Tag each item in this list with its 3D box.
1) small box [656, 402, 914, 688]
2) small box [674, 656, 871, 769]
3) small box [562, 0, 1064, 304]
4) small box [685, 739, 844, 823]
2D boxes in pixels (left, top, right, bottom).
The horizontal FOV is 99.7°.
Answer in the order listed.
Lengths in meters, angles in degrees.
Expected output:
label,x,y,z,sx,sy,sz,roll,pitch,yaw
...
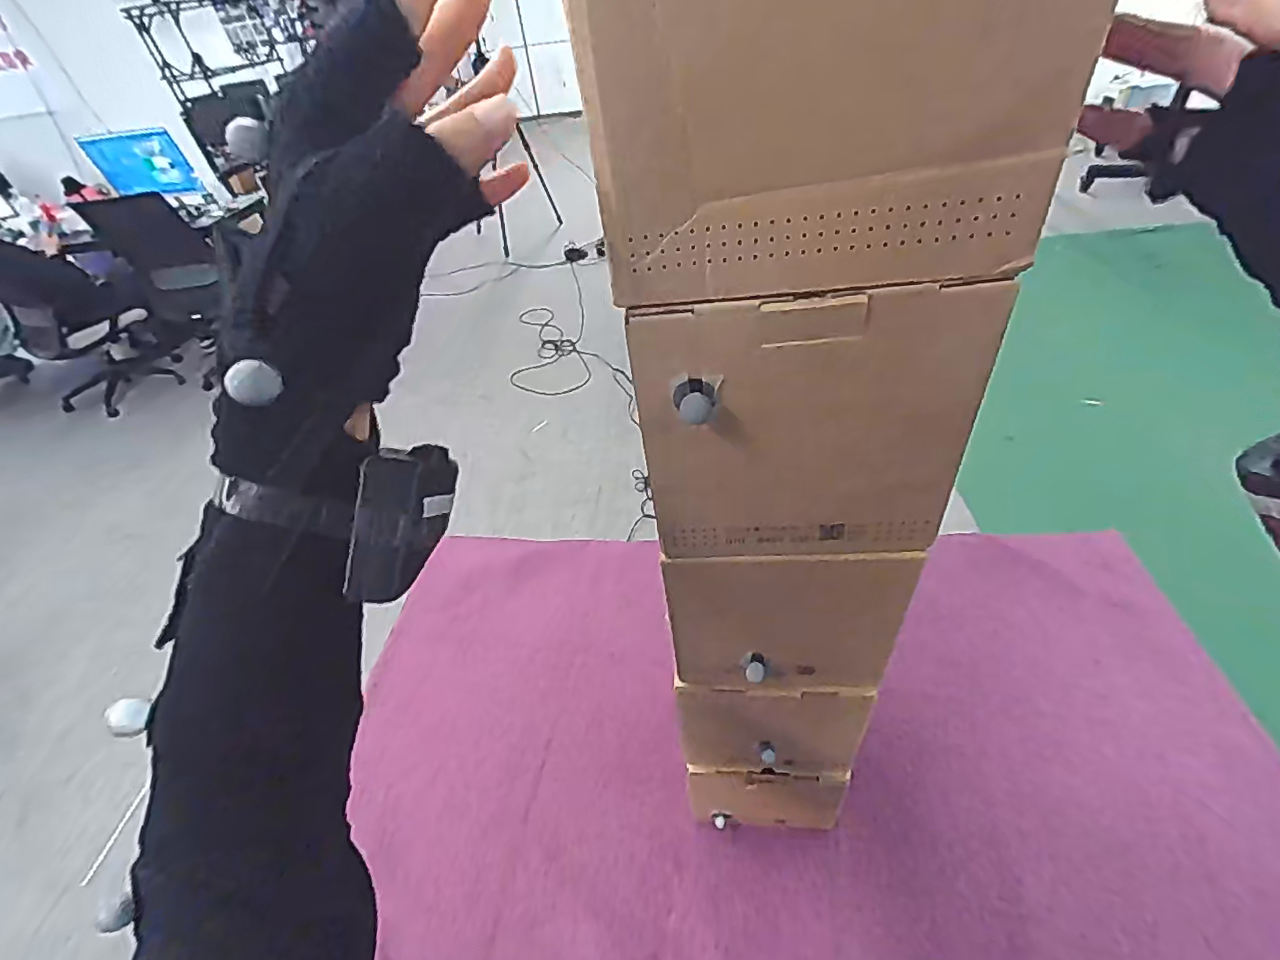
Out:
label,x,y,z,sx,sy,sz,roll,pitch,yaw
small box,0.108,0.053,0.461,0.168,0.176,0.179,-2,43,9
small box,0.127,0.175,0.566,0.168,0.176,0.179,-2,43,9
small box,0.065,-0.193,0.250,0.179,0.176,0.168,-2,41,8
small box,0.147,0.301,0.669,0.168,0.176,0.179,-1,42,9
